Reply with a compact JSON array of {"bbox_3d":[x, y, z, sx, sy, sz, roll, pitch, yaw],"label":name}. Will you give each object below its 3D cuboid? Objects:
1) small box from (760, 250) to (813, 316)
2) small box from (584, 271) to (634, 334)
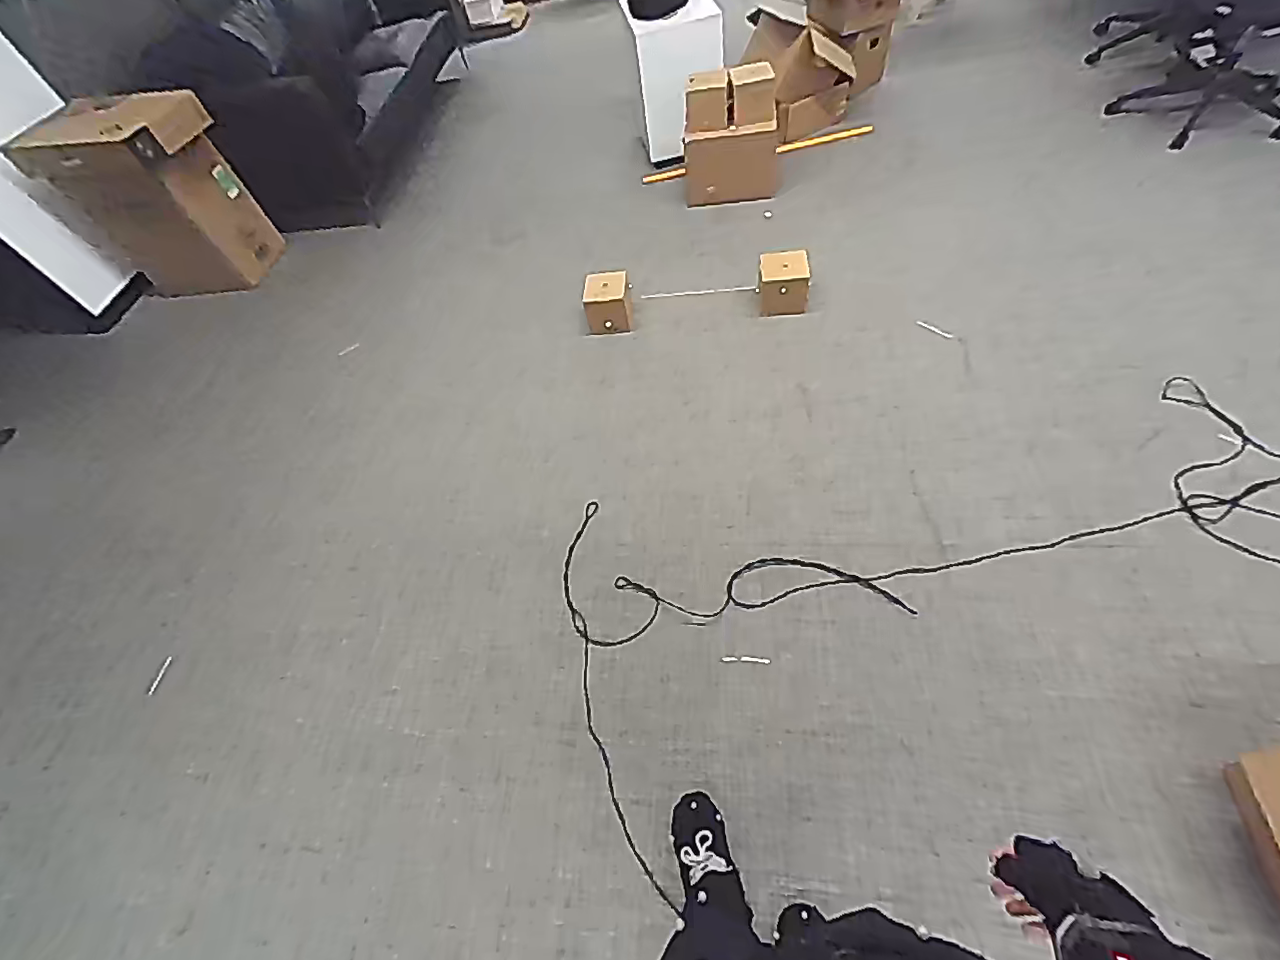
[{"bbox_3d":[0.558,-0.754,2.081,0.179,0.176,0.168,-3,57,10],"label":"small box"},{"bbox_3d":[-0.118,-0.713,2.180,0.168,0.176,0.179,-3,56,9],"label":"small box"}]
